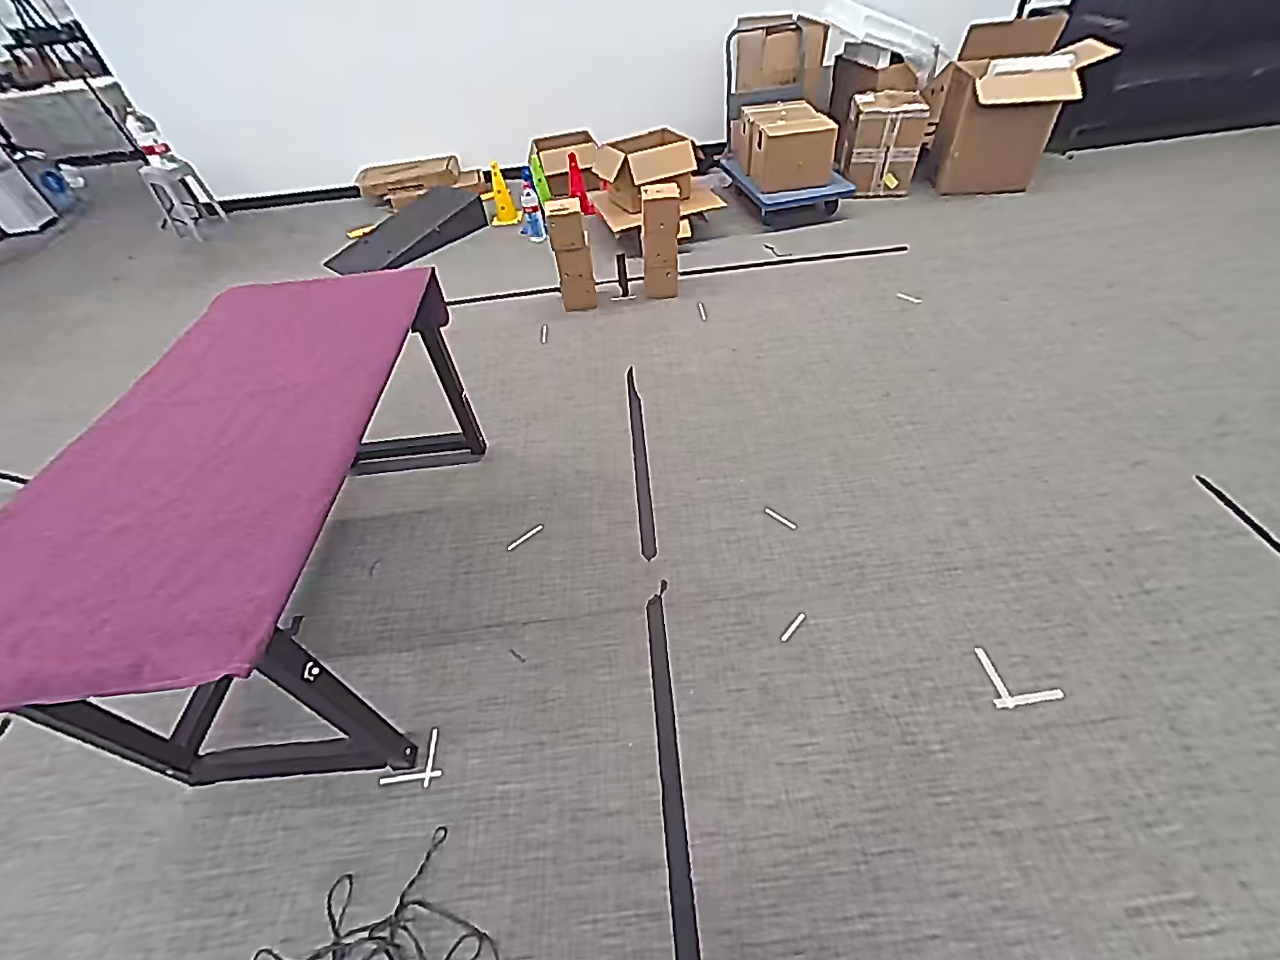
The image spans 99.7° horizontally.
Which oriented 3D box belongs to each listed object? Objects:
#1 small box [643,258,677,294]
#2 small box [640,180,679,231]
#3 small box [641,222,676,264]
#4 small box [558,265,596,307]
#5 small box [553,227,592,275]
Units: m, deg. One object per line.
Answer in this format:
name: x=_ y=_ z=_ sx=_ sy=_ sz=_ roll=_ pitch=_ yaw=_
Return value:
small box: x=0.104 y=-1.091 z=2.832 sx=0.179 sy=0.176 sz=0.168 roll=-3 pitch=47 yaw=2
small box: x=0.093 y=-1.315 z=2.595 sx=0.179 sy=0.176 sz=0.168 roll=-4 pitch=48 yaw=0
small box: x=0.092 y=-1.210 z=2.722 sx=0.168 sy=0.176 sz=0.179 roll=-6 pitch=48 yaw=-1
small box: x=-0.327 y=-1.021 z=2.812 sx=0.179 sy=0.176 sz=0.168 roll=-9 pitch=46 yaw=-1
small box: x=-0.334 y=-1.133 z=2.692 sx=0.168 sy=0.176 sz=0.179 roll=-6 pitch=46 yaw=0
